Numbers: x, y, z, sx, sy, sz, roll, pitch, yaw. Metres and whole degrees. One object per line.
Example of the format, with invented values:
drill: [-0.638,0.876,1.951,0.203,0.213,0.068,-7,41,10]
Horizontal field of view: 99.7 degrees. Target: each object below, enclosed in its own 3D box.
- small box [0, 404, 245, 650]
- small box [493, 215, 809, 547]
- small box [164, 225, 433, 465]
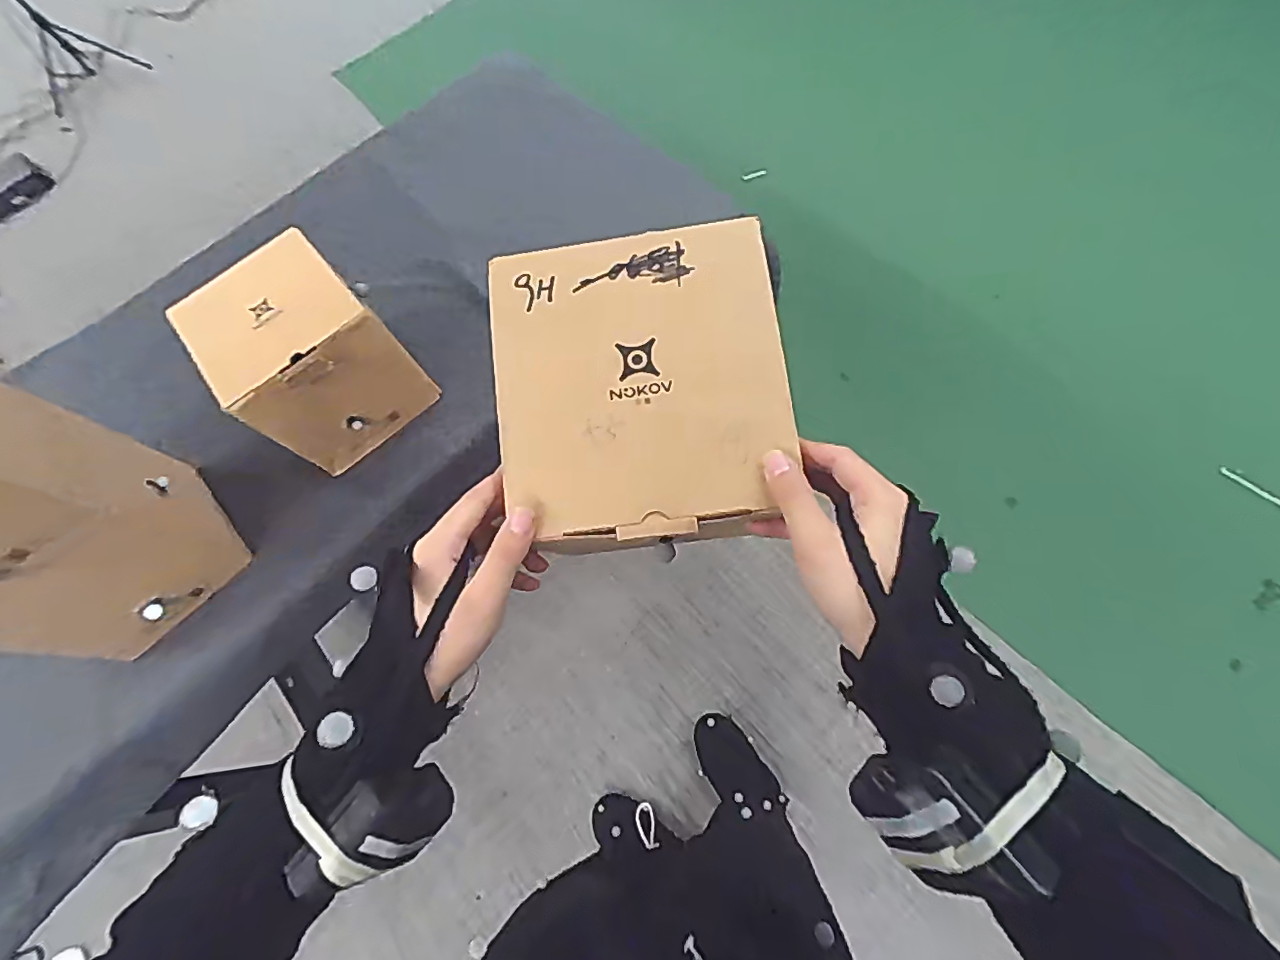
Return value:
small box: [-0.581,0.060,0.572,0.168,0.176,0.179,-44,70,-11]
small box: [0.009,-0.047,0.381,0.168,0.176,0.179,-7,81,3]
small box: [-0.382,-0.148,0.632,0.168,0.176,0.179,-41,69,-10]
